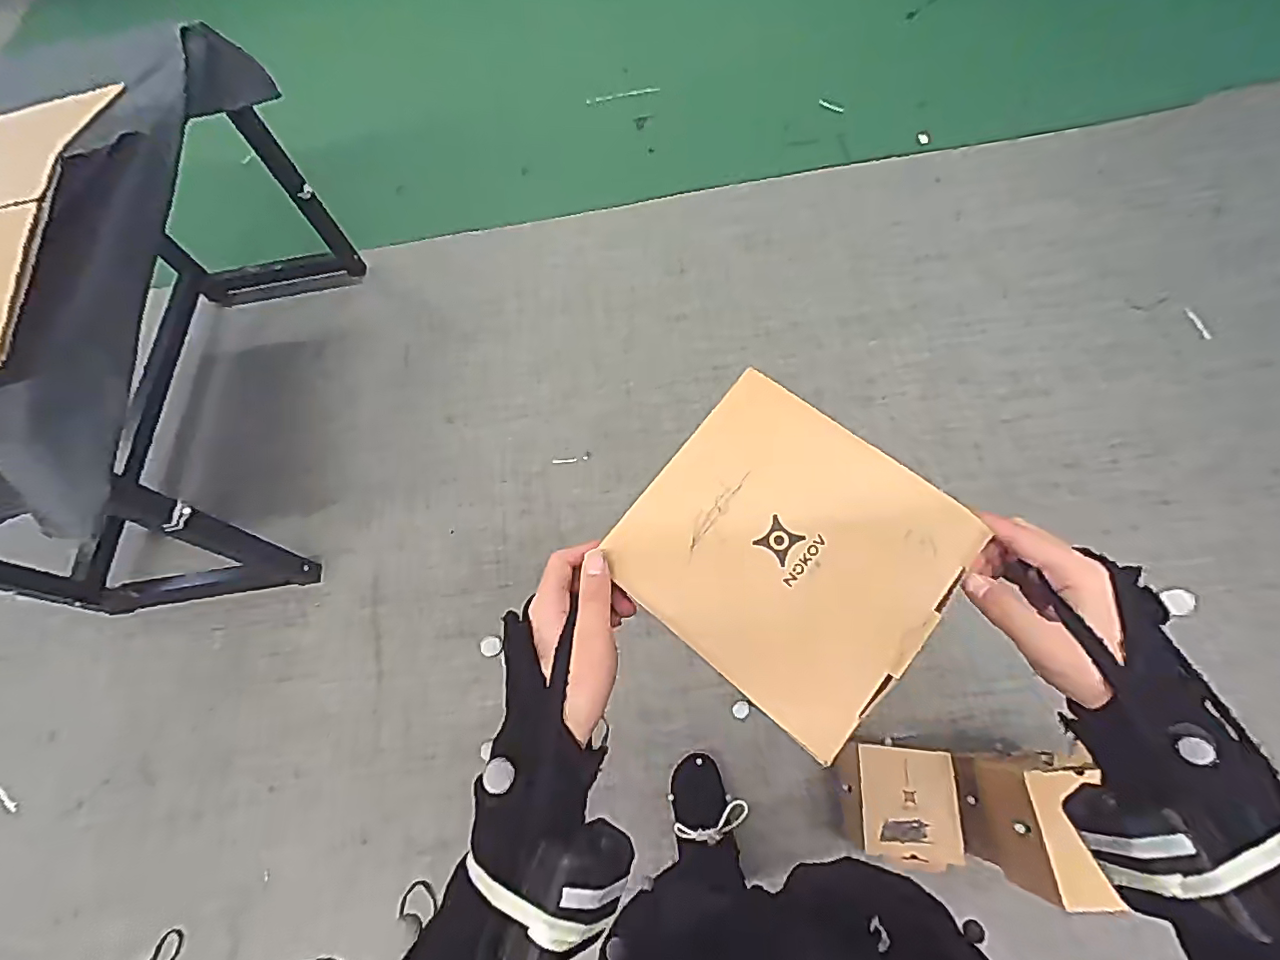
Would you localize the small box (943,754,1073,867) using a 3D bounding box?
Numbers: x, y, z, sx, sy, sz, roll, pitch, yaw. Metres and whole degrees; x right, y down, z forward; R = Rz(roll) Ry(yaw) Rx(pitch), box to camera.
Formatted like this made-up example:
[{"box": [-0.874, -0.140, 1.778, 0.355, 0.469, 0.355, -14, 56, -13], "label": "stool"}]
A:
[{"box": [0.696, 0.610, 1.002, 0.168, 0.176, 0.179, -5, 63, 4], "label": "small box"}]

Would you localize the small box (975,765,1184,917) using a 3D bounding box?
[{"box": [0.668, 0.553, 0.850, 0.168, 0.176, 0.179, -5, 64, 4], "label": "small box"}]
